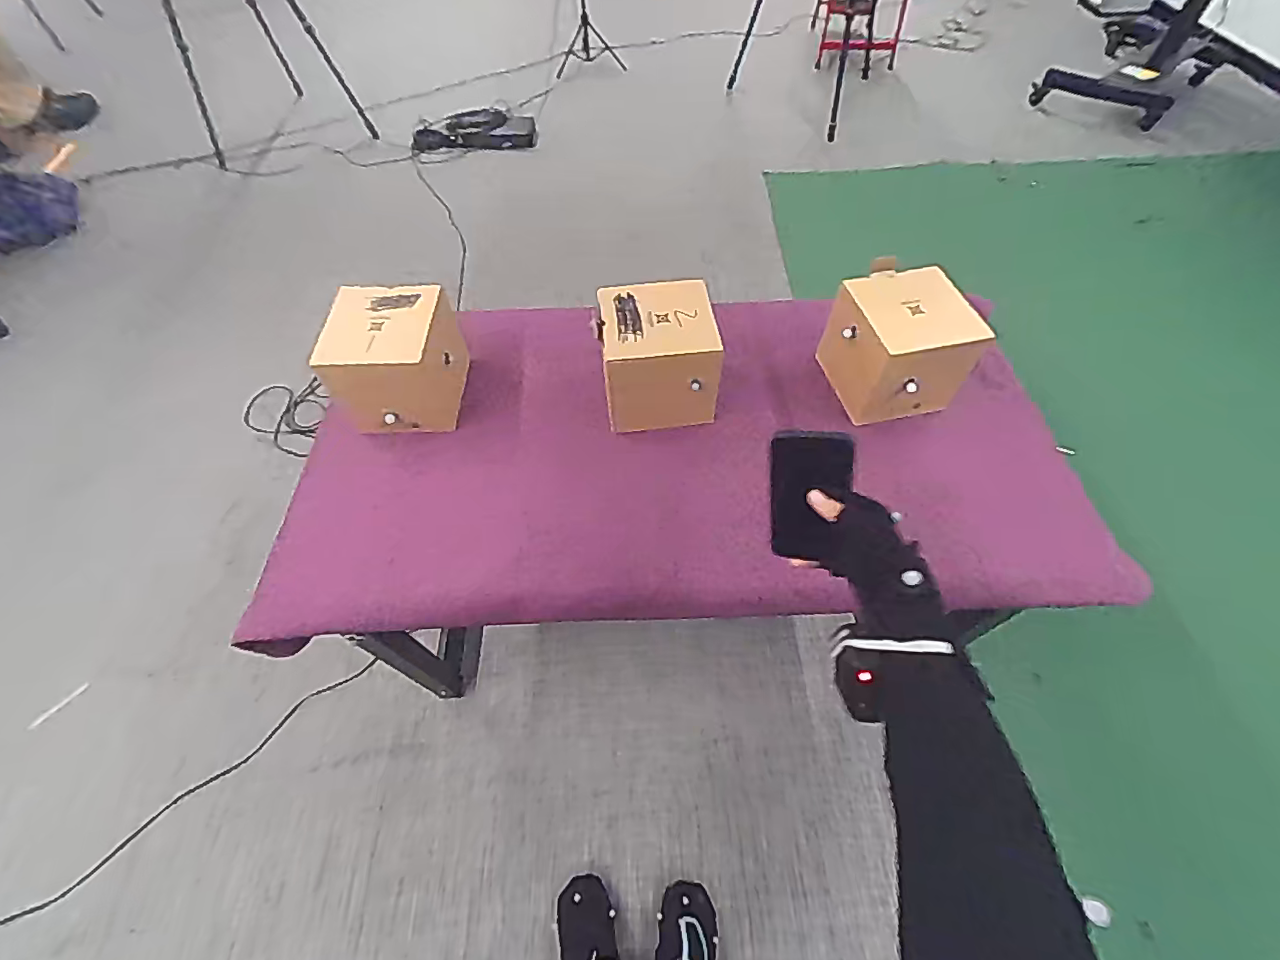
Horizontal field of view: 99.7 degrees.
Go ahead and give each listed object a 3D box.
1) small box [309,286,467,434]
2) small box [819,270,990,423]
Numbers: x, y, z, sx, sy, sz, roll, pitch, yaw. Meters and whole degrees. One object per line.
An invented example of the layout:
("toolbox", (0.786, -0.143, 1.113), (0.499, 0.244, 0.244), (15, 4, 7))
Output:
("small box", (-0.397, -0.196, 0.891), (0.168, 0.176, 0.179), (-1, 58, 1))
("small box", (0.417, -0.210, 0.889), (0.168, 0.176, 0.179), (-11, 57, -5))
